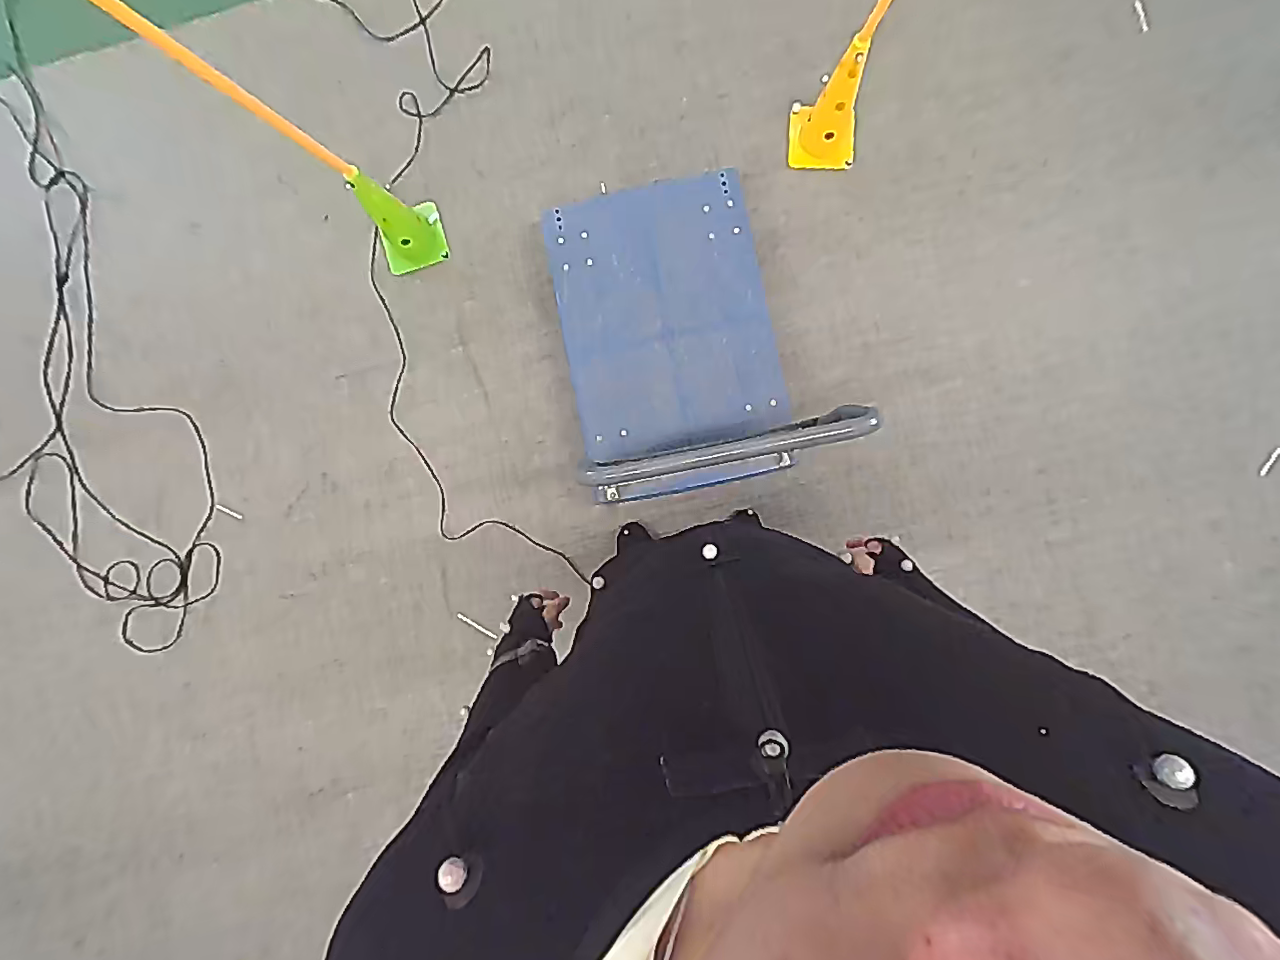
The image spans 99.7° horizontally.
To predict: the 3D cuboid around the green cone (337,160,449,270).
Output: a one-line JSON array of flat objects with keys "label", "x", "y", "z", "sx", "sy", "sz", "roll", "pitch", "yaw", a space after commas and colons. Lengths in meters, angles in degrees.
[{"label": "green cone", "x": -0.740, "y": -0.800, "z": 1.562, "sx": 0.202, "sy": 0.368, "sz": 0.200, "roll": -18, "pitch": 86, "yaw": 4}]
